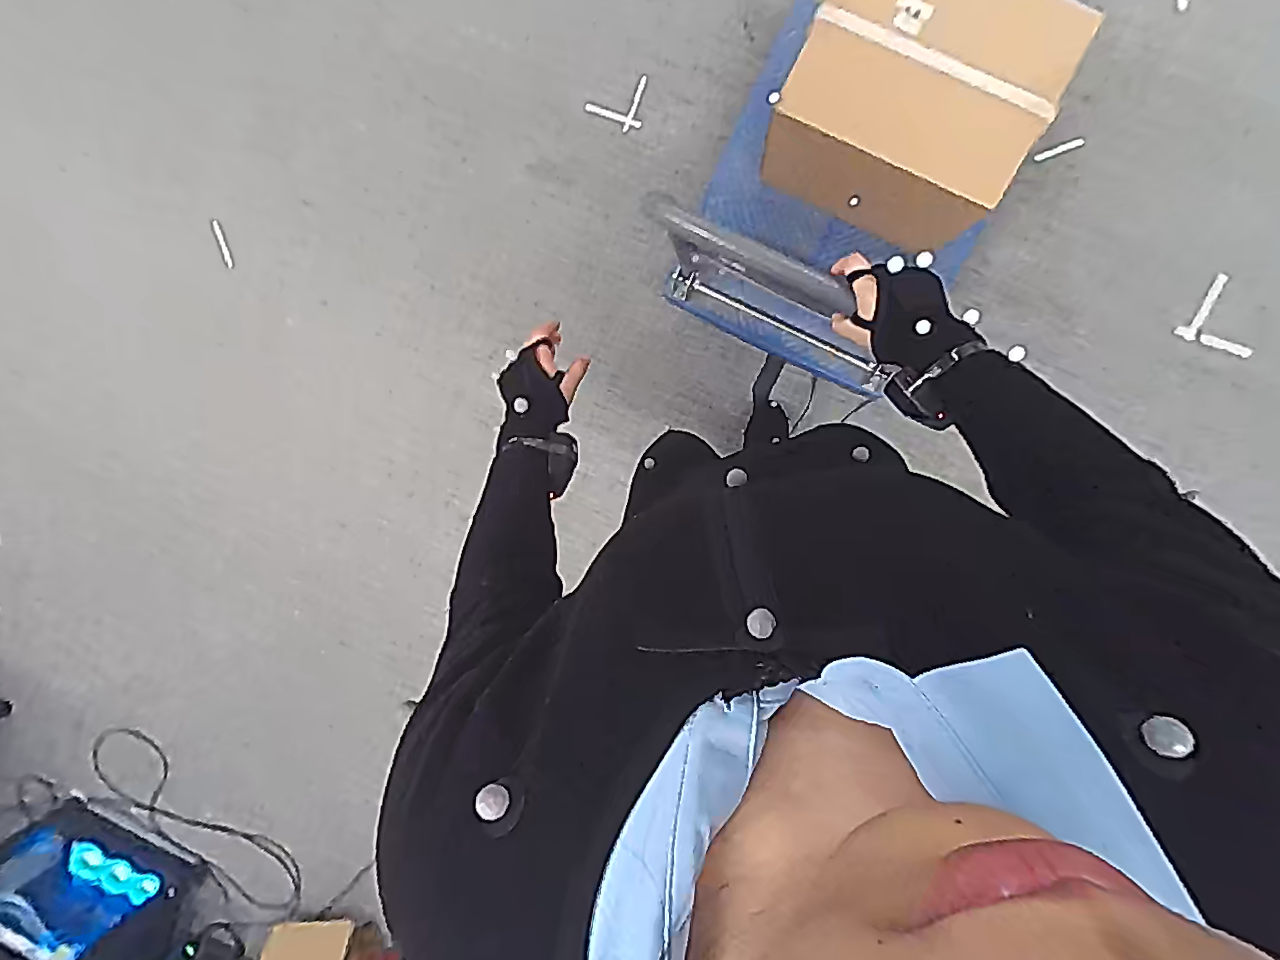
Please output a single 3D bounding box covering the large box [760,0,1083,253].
[{"bbox_3d":[0.486,-0.696,1.040,0.408,0.320,0.320,27,100,5],"label":"large box"}]
